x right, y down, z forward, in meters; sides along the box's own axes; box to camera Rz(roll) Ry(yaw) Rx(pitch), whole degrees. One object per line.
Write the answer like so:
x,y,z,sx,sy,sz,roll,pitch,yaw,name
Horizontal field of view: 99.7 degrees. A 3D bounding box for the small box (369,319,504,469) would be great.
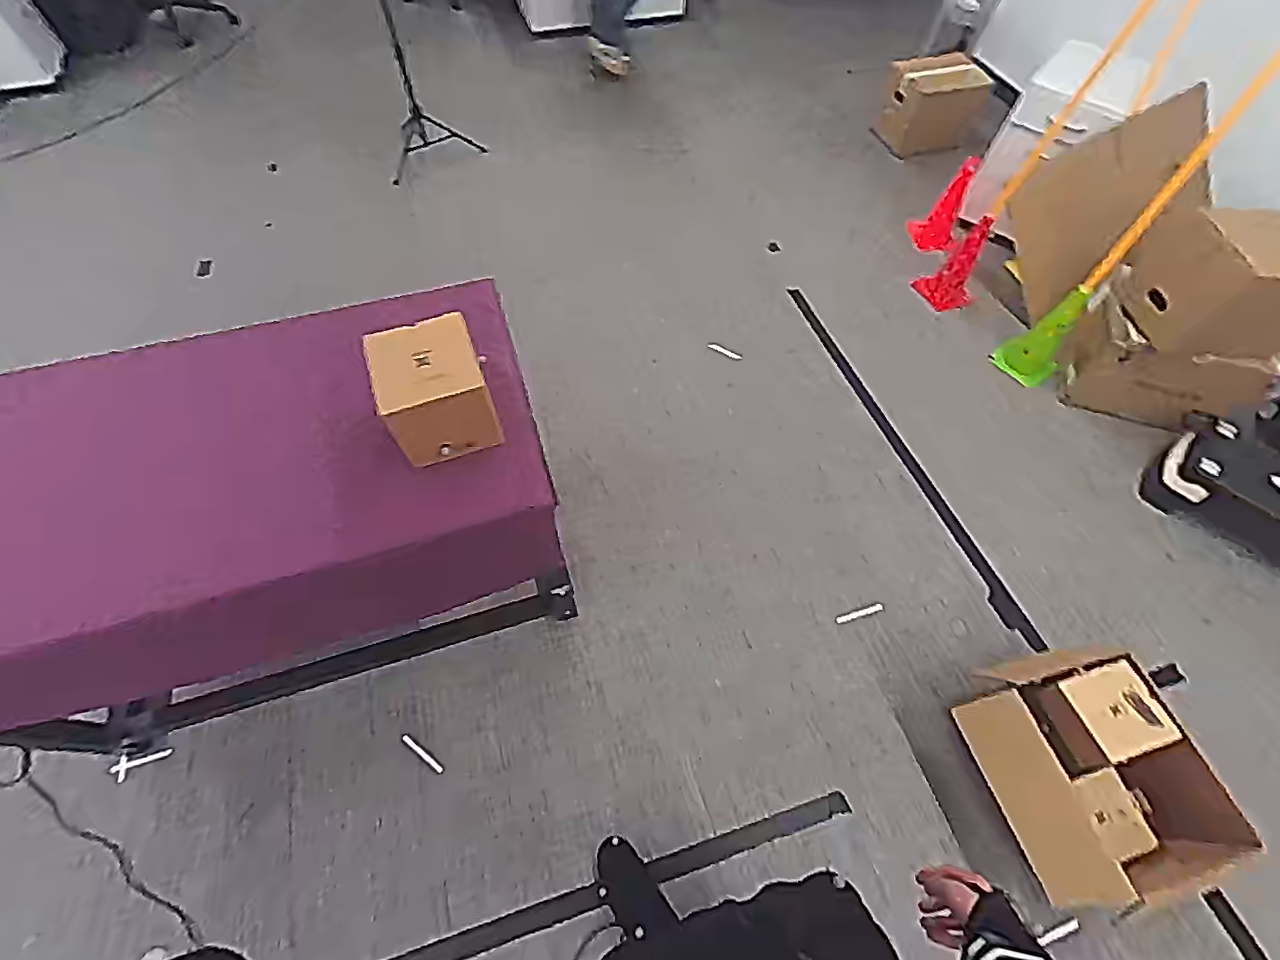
-0.355,-0.149,0.958,0.168,0.176,0.179,-19,61,-11,small box
